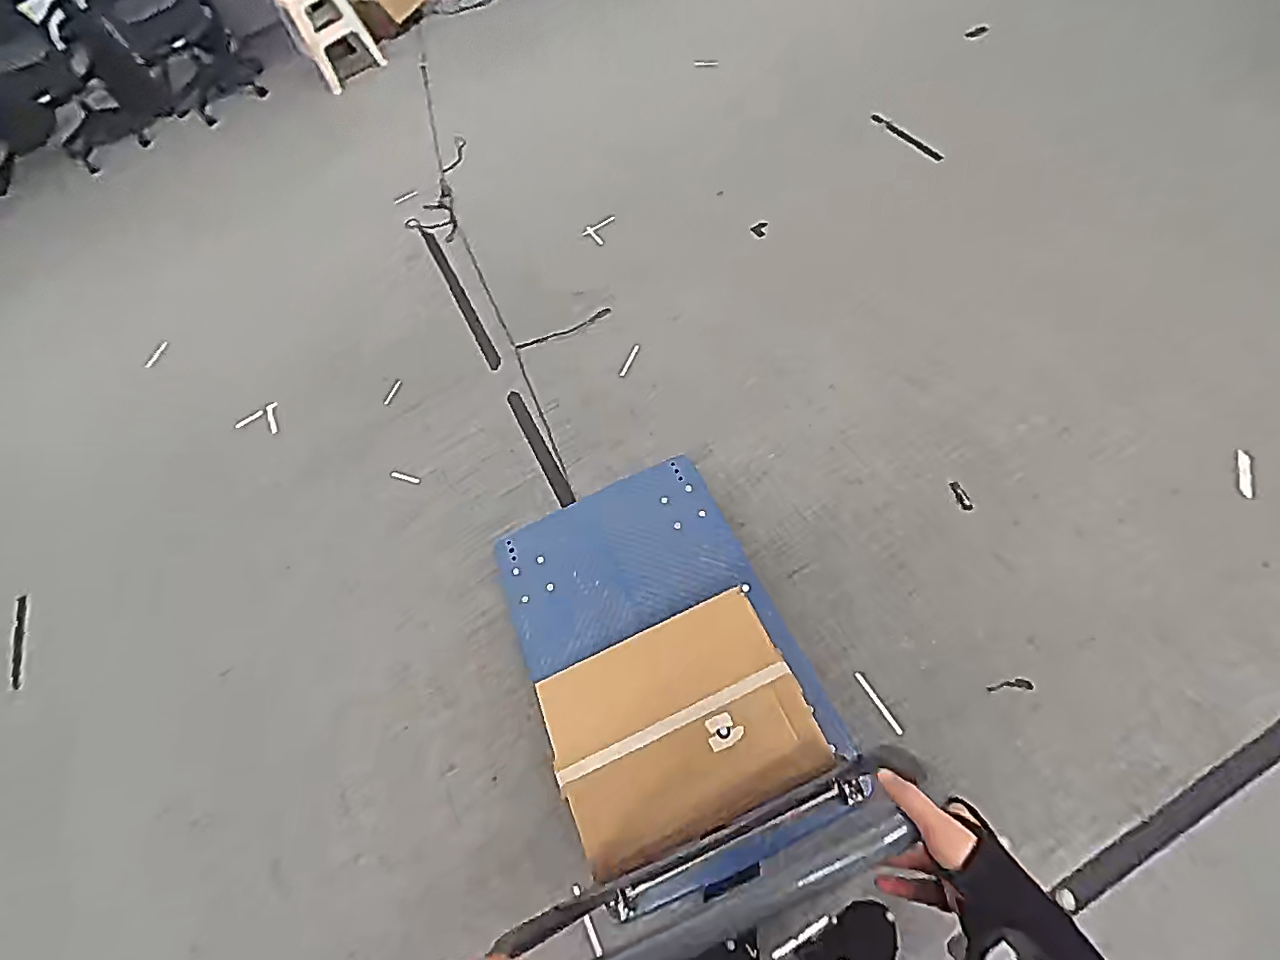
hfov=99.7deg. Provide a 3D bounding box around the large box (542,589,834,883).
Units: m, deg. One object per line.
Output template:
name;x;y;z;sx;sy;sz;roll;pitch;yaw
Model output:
large box;0.087;0.469;1.014;0.408;0.320;0.320;-26;61;-3
